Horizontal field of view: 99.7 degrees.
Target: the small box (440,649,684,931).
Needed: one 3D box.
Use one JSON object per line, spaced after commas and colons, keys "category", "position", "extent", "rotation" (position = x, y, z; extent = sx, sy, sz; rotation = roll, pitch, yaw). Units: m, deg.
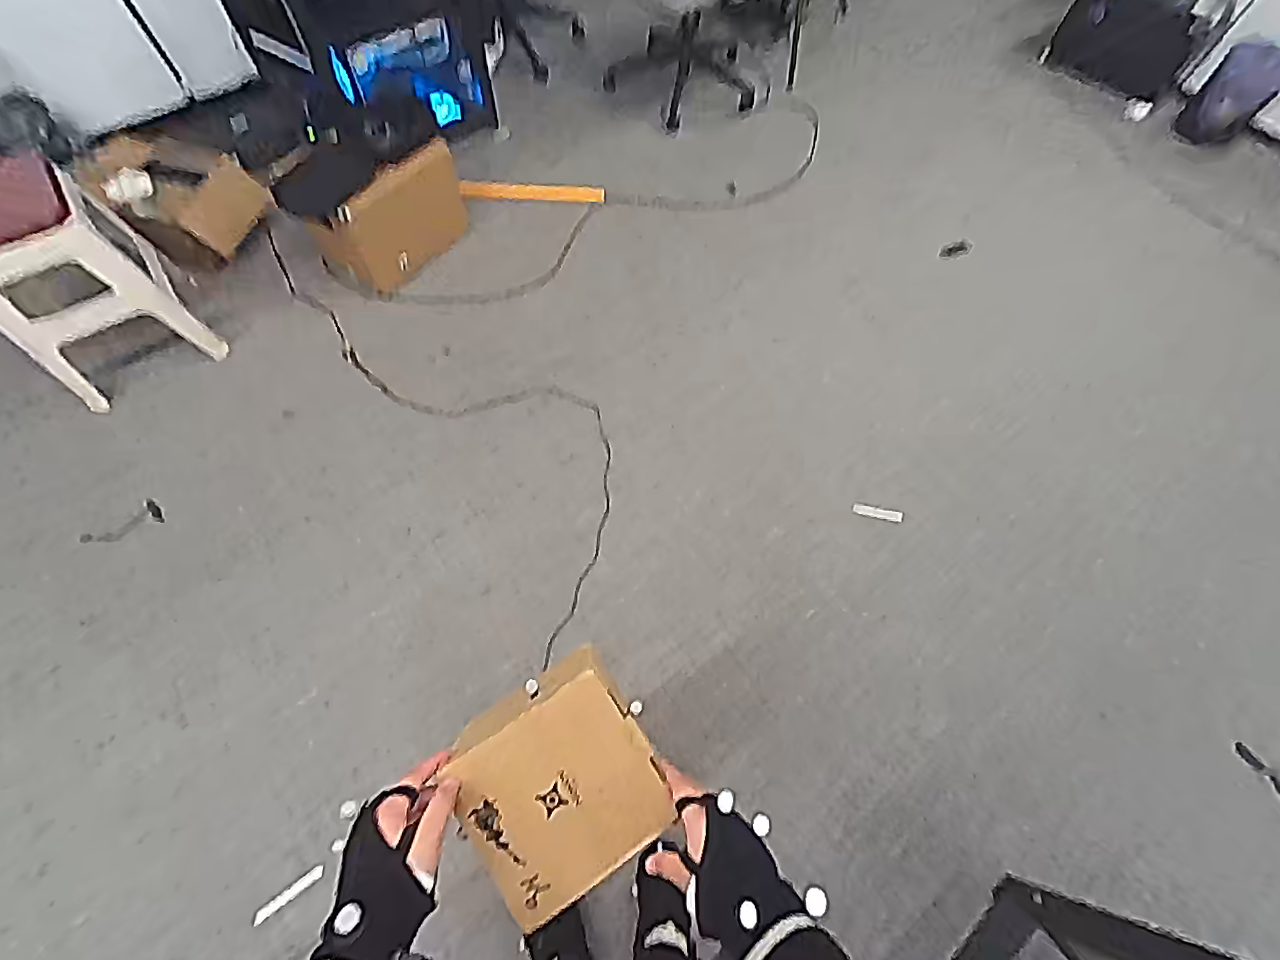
{"category": "small box", "position": [-0.082, 0.303, 0.580], "extent": [0.179, 0.176, 0.168], "rotation": [-32, 86, -12]}
